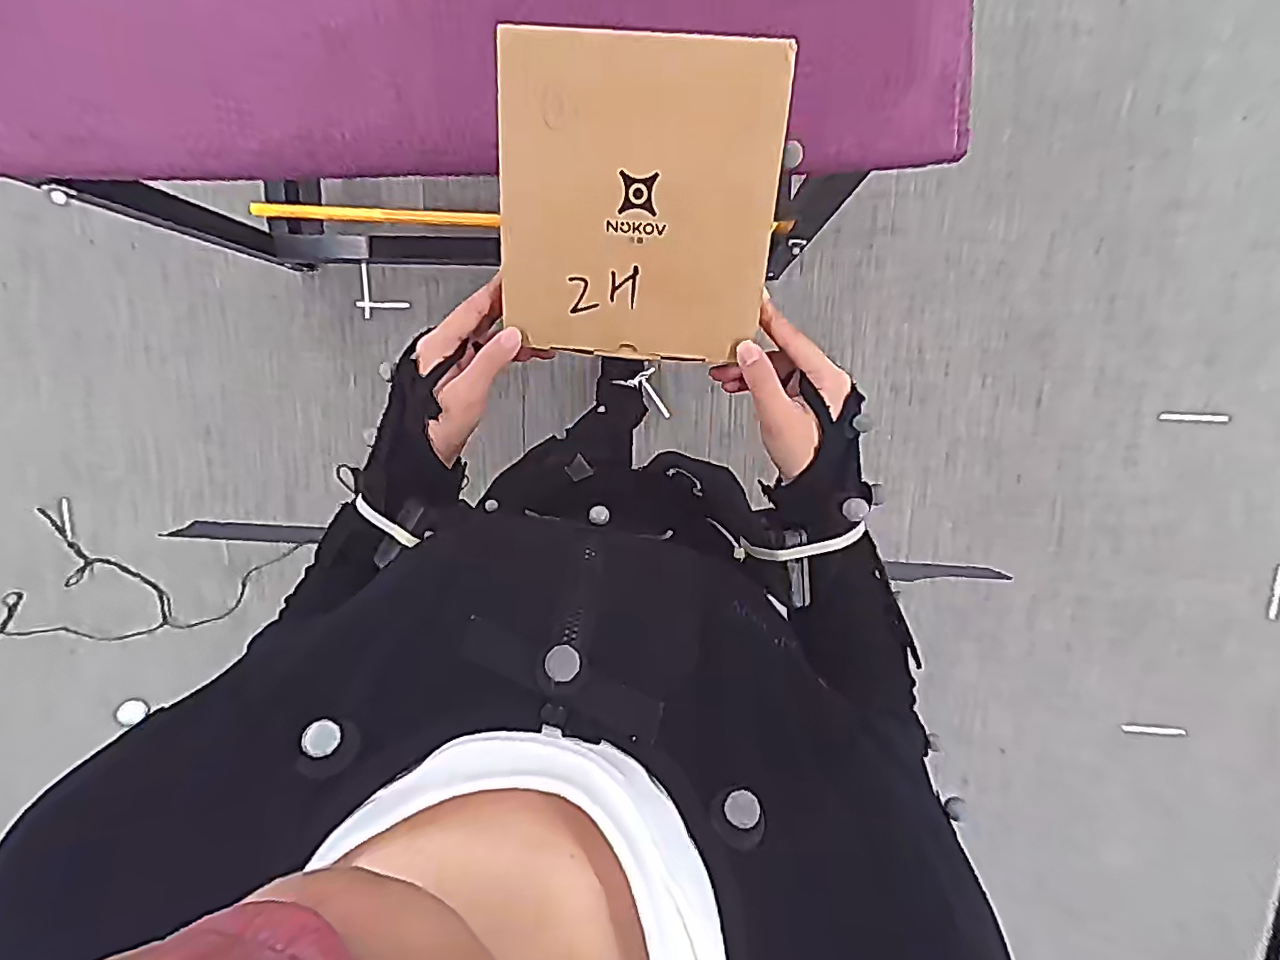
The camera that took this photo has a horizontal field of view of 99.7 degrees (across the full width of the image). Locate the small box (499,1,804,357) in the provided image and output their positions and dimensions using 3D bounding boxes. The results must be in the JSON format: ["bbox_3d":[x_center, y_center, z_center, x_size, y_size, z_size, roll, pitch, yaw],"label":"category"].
[{"bbox_3d":[0.004,-0.193,0.391,0.168,0.176,0.179,6,110,3],"label":"small box"}]
